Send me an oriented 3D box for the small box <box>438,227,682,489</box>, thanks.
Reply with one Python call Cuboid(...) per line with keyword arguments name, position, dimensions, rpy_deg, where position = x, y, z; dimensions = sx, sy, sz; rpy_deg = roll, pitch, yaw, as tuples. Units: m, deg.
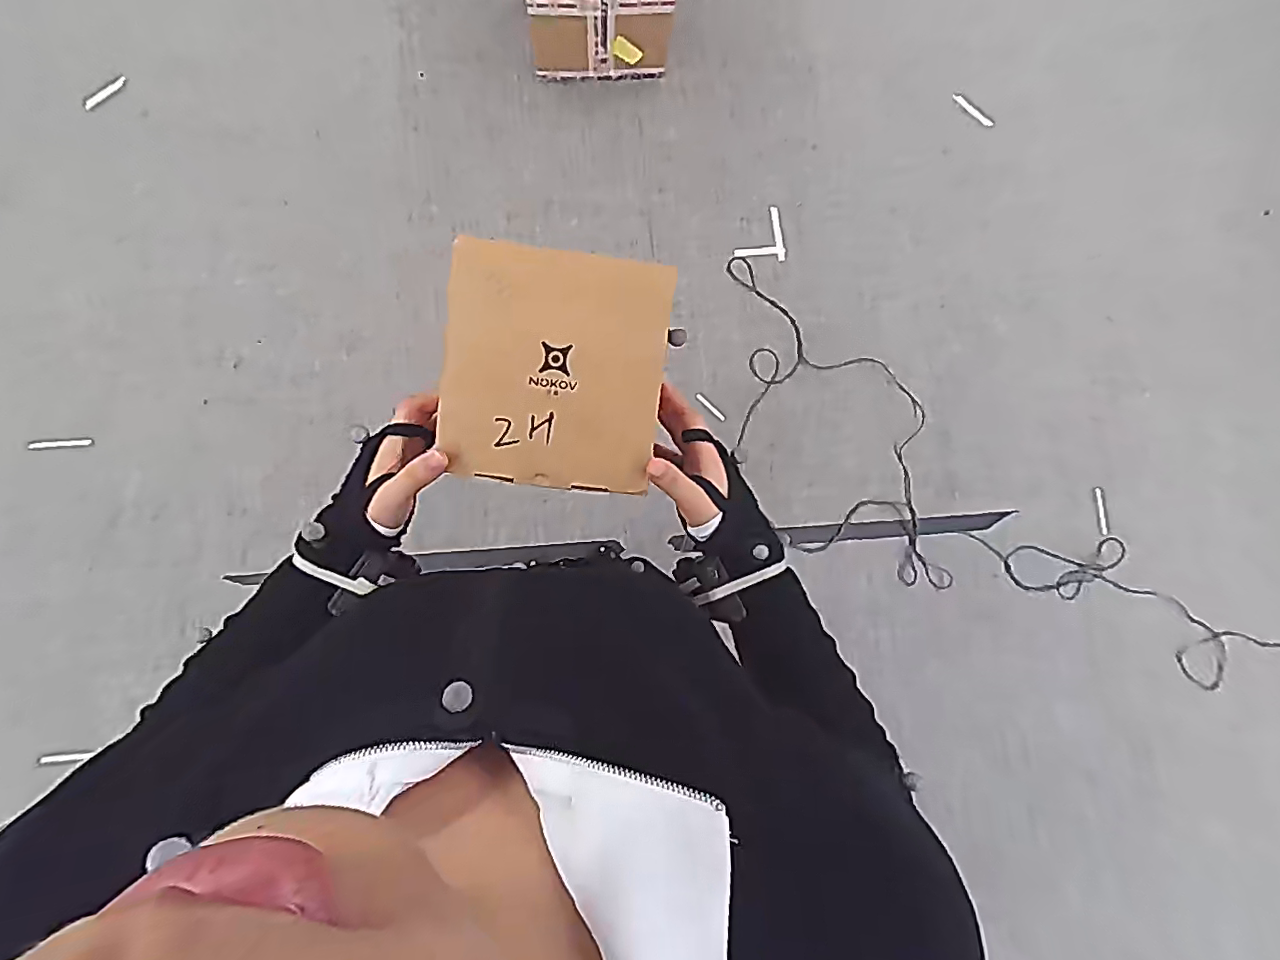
Cuboid(name="small box", position=(-0.064, -0.096, 0.483), dimensions=(0.168, 0.176, 0.179), rpy_deg=(7, 96, -3))
